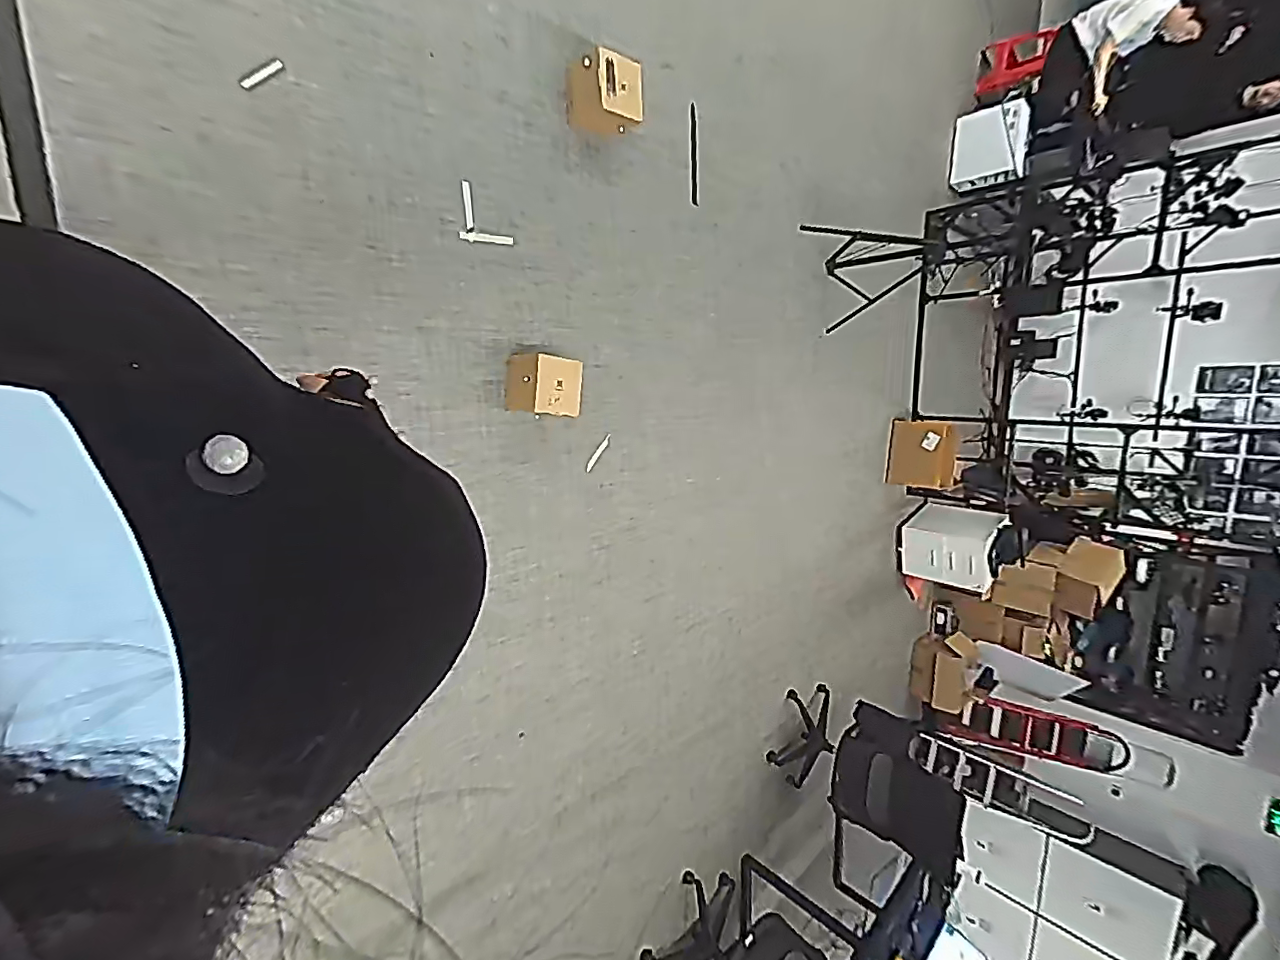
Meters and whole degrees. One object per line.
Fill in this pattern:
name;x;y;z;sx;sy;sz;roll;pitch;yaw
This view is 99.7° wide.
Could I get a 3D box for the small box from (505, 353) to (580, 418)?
small box;-0.308;-0.293;1.695;0.168;0.176;0.179;1;97;-44
